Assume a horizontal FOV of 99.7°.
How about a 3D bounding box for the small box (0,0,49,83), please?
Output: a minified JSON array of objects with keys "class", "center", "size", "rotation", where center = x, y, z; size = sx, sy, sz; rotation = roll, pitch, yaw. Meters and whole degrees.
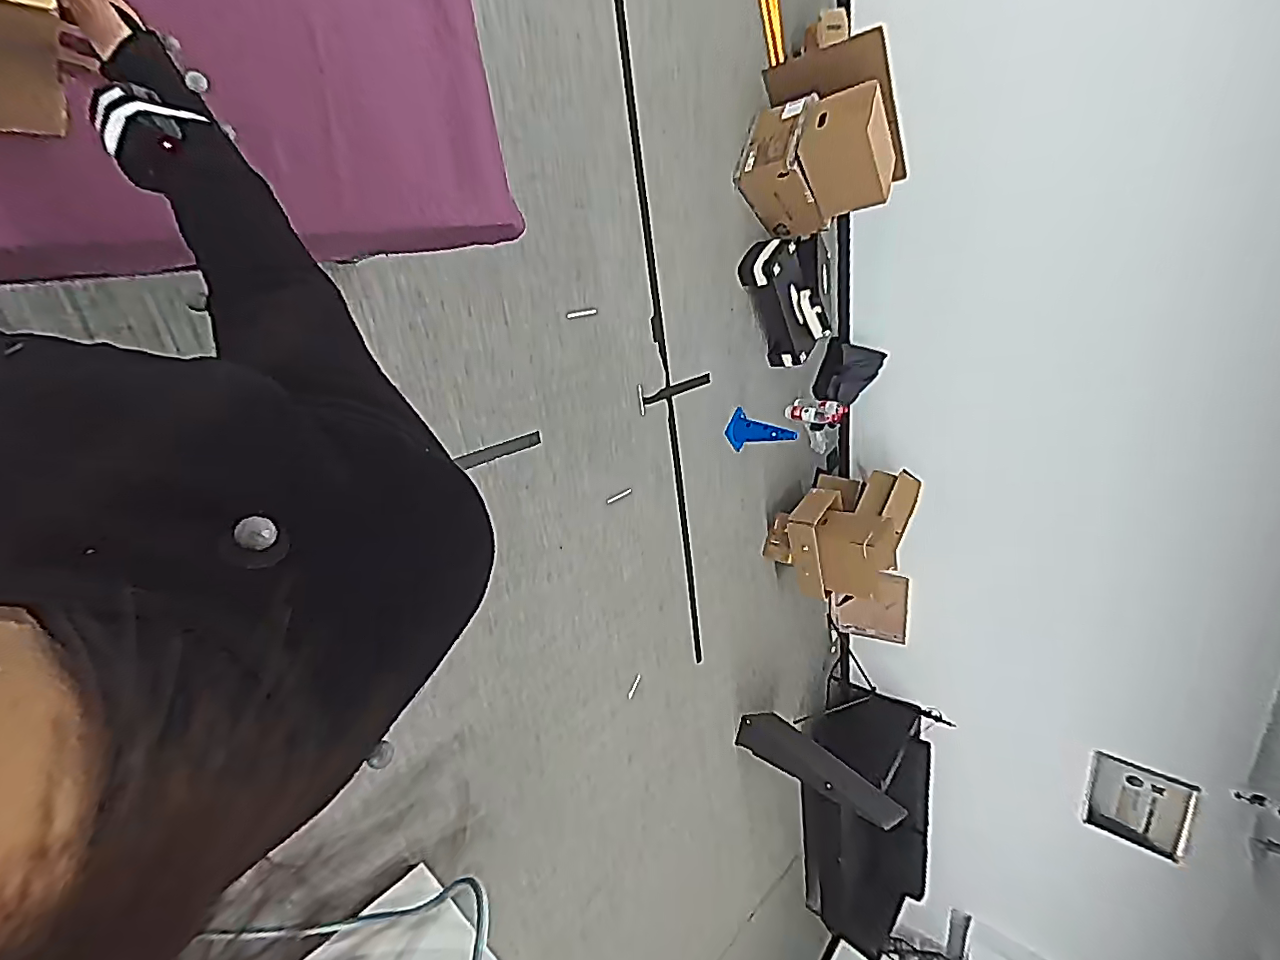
[{"class":"small box","center":[-0.540,-0.393,0.353],"size":[0.179,0.176,0.168],"rotation":[-25,116,-43]}]
